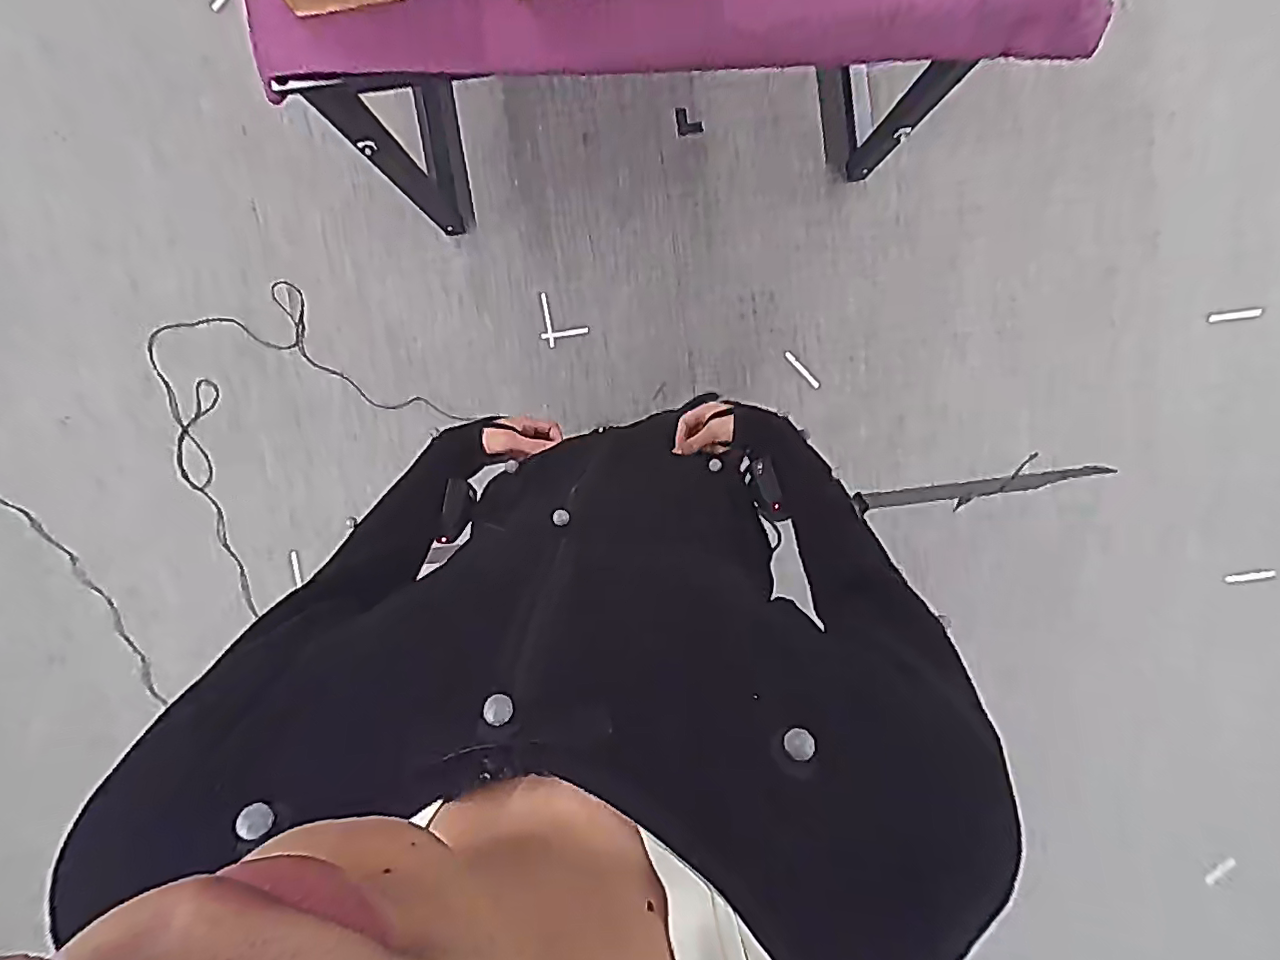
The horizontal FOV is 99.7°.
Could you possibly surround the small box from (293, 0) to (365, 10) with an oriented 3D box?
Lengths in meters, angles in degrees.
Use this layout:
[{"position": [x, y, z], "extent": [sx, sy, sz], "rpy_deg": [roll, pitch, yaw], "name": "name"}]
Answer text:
[{"position": [-0.430, -0.762, 0.687], "extent": [0.168, 0.176, 0.179], "rpy_deg": [-12, 98, -1], "name": "small box"}]
